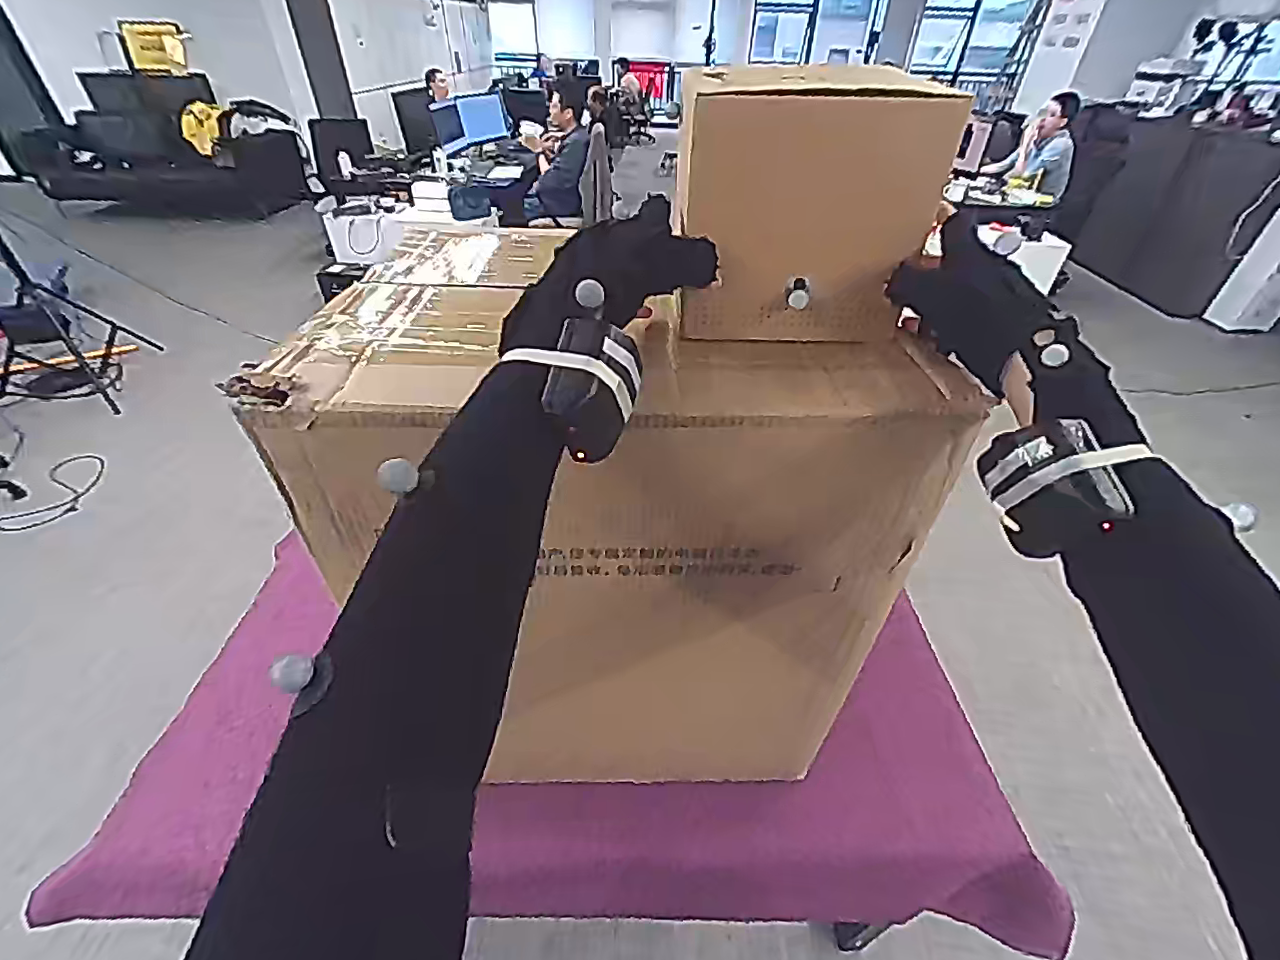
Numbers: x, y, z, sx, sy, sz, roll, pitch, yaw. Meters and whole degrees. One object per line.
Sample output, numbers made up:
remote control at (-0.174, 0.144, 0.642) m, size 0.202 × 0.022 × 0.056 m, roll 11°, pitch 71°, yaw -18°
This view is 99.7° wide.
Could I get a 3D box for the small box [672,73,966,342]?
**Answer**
small box at (0.121, -0.227, 0.453) m, size 0.179 × 0.176 × 0.168 m, roll 1°, pitch 40°, yaw 0°
